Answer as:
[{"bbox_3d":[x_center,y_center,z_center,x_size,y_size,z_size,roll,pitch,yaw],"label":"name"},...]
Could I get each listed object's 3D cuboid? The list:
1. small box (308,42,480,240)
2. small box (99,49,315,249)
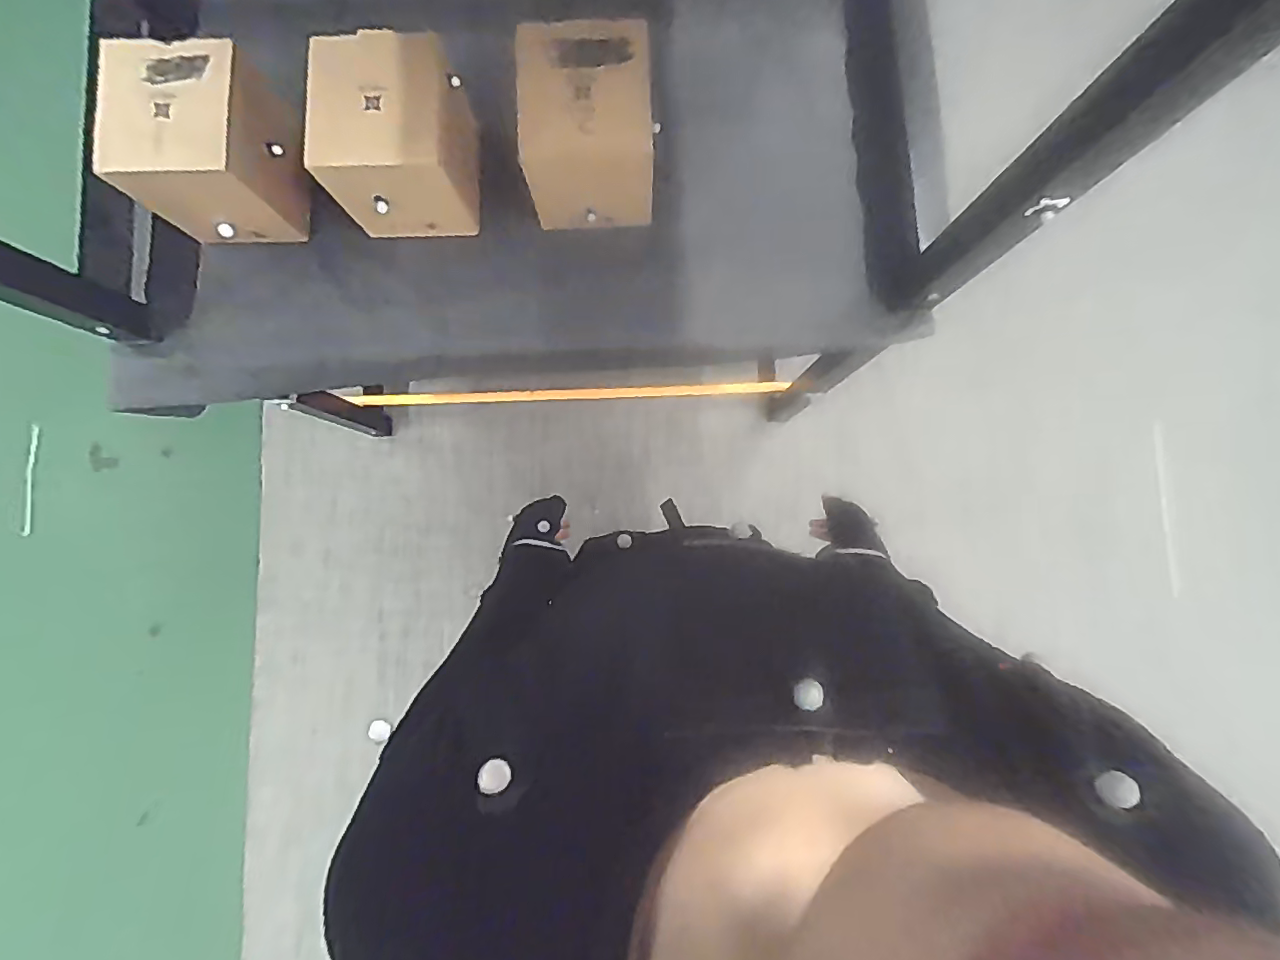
[{"bbox_3d":[-0.327,-0.453,0.750,0.168,0.176,0.179,-1,84,0],"label":"small box"},{"bbox_3d":[-0.579,-0.446,0.748,0.168,0.176,0.179,-1,85,0],"label":"small box"}]
